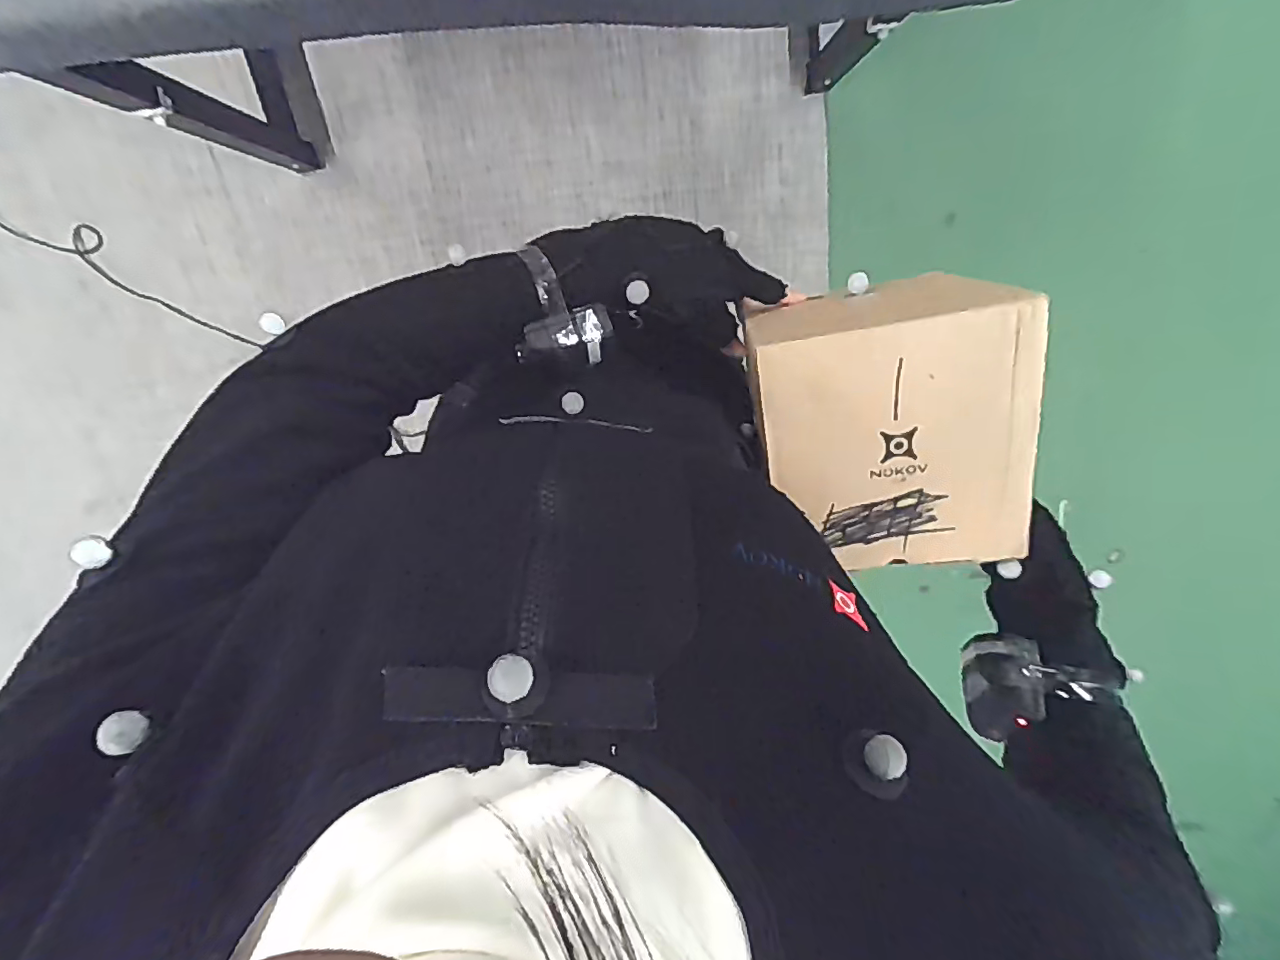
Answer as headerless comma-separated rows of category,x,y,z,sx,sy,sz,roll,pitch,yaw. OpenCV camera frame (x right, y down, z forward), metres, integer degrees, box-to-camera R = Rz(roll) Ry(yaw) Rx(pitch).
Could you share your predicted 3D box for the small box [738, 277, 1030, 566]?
small box,0.172,-0.054,0.434,0.168,0.176,0.179,-7,113,10
